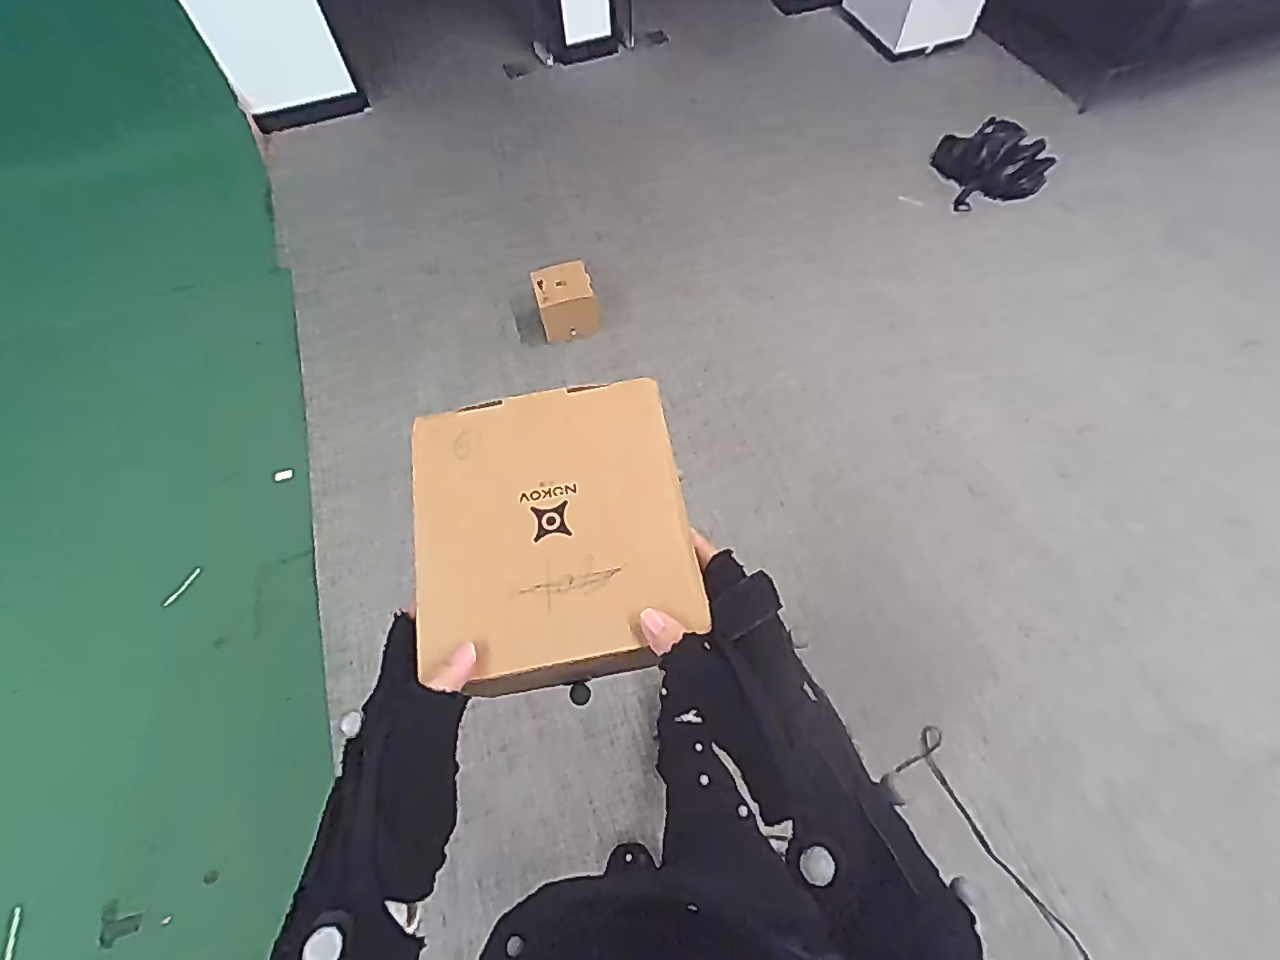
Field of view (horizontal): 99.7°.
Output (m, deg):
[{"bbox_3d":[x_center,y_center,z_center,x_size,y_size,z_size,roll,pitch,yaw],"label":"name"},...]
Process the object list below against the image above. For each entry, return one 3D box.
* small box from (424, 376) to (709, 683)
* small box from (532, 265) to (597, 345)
[{"bbox_3d":[-0.053,0.048,0.415,0.168,0.176,0.179,-10,67,-3],"label":"small box"},{"bbox_3d":[-0.243,-0.573,1.781,0.179,0.176,0.168,-14,63,-6],"label":"small box"}]
